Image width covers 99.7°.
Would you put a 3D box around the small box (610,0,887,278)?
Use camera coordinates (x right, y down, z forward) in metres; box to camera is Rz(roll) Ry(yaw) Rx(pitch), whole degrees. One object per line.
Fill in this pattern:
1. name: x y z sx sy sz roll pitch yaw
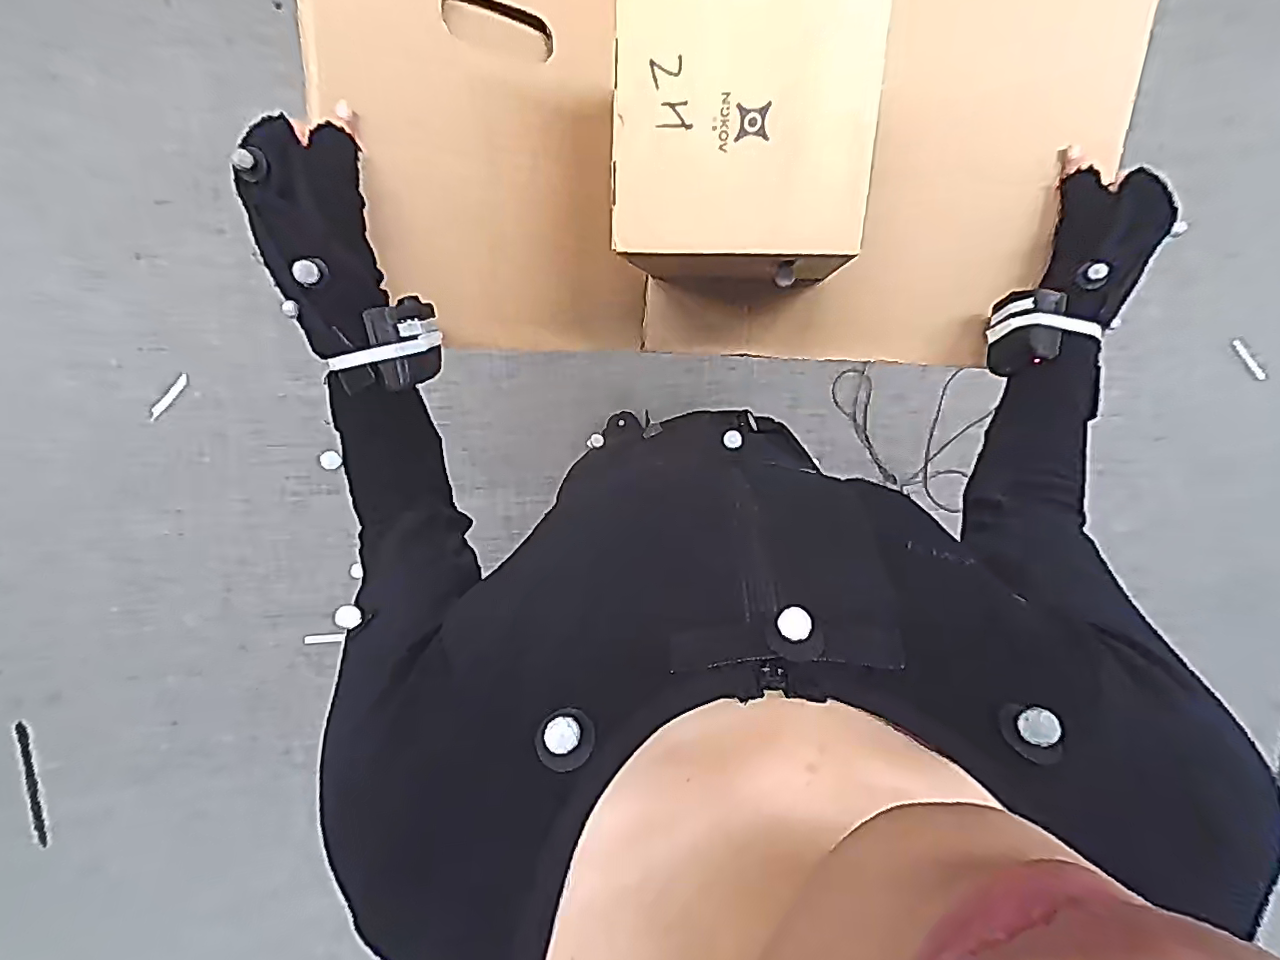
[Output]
1. small box: 0.080 -0.264 0.444 0.179 0.176 0.168 5 105 10
